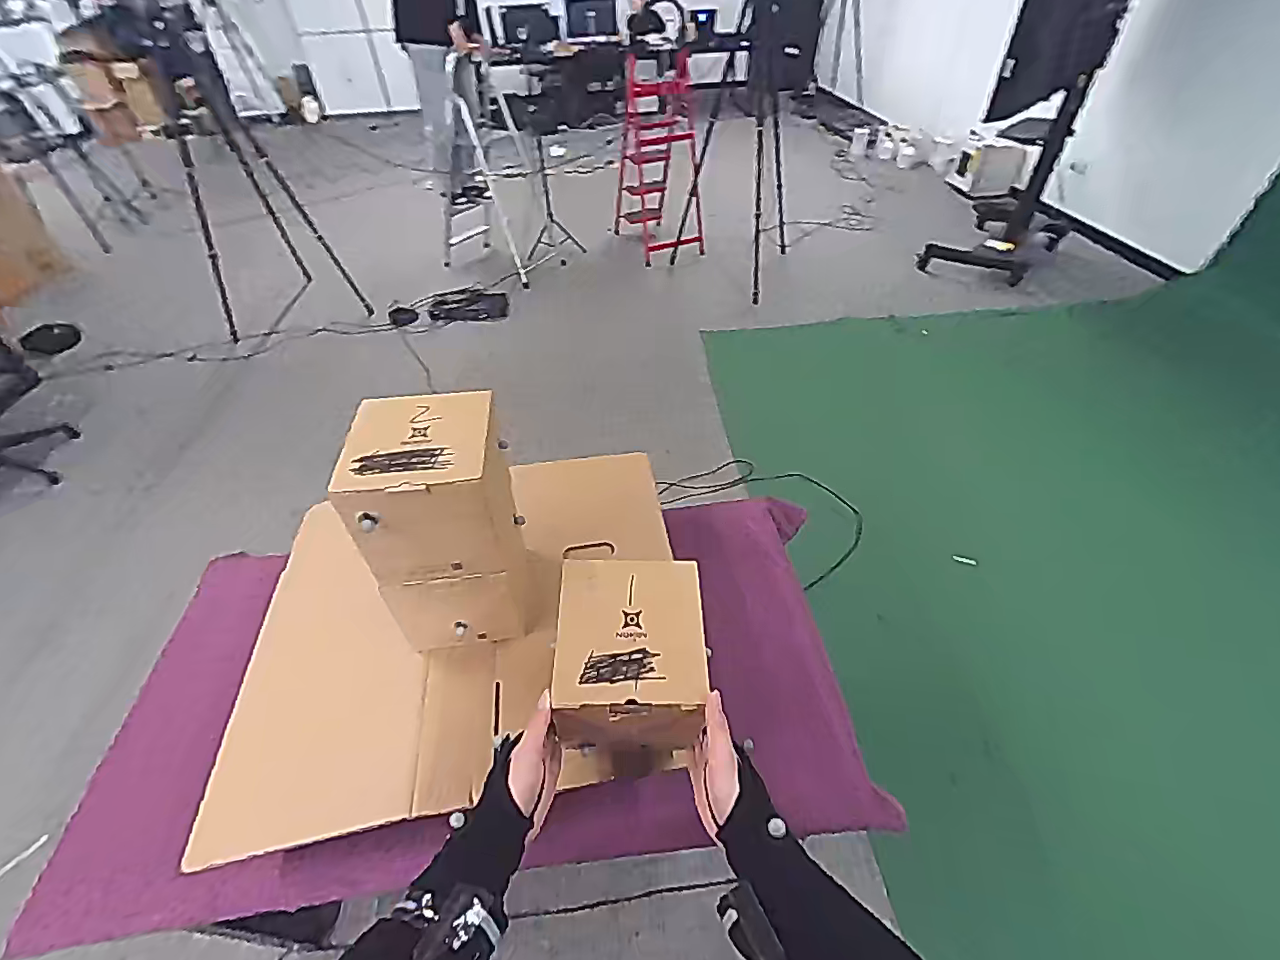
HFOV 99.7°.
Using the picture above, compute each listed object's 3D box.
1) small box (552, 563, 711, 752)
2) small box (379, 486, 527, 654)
[{"bbox_3d":[-0.010,0.220,0.658,0.168,0.176,0.179,1,49,-3],"label":"small box"},{"bbox_3d":[-0.265,0.134,0.810,0.168,0.176,0.179,-6,46,-6],"label":"small box"}]
